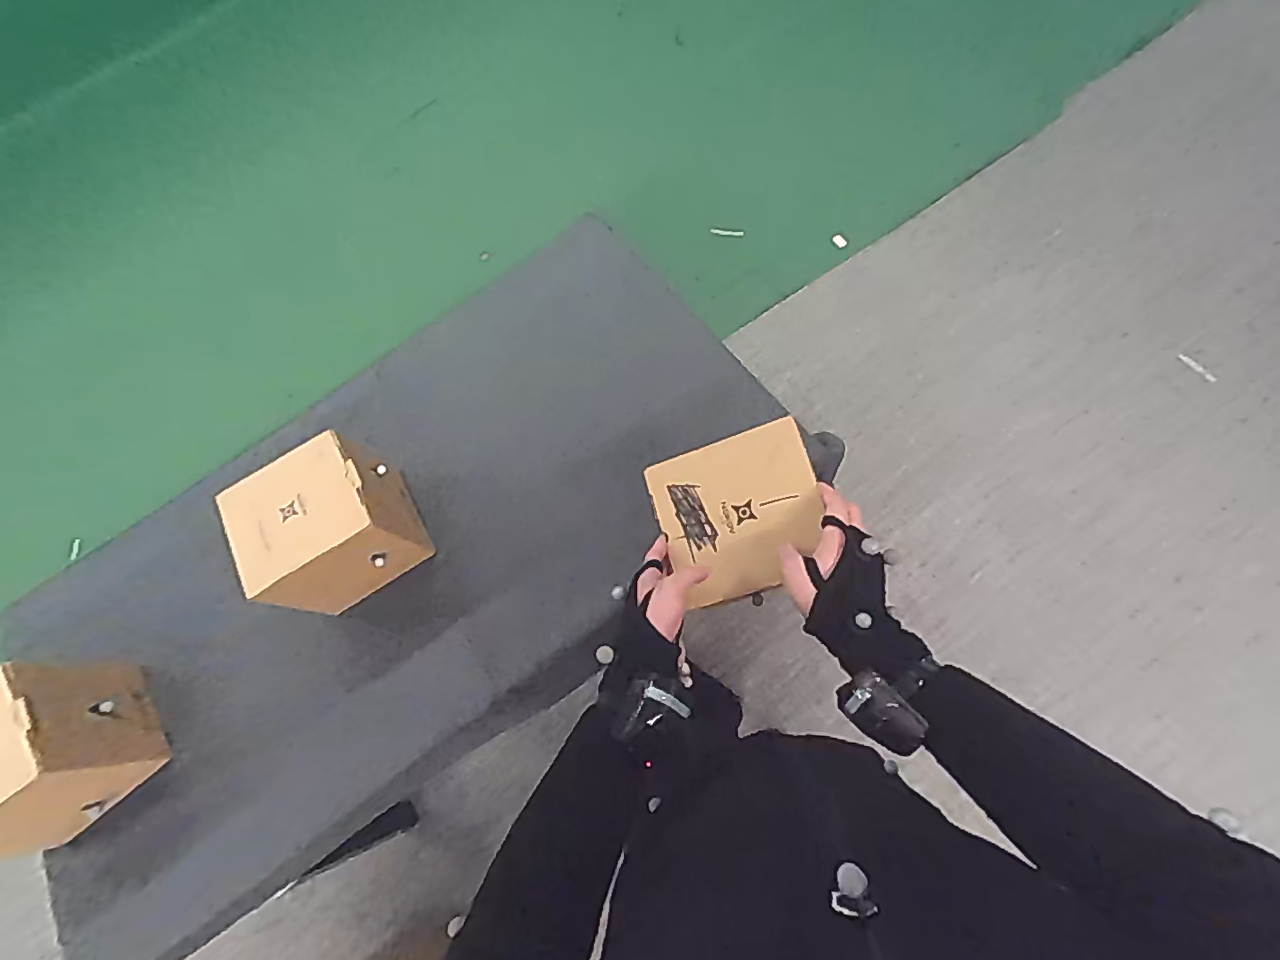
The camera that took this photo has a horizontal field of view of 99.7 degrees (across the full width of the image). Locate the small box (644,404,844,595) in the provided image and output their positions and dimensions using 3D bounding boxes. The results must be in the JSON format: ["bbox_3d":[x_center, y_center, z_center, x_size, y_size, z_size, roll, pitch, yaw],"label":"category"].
[{"bbox_3d":[0.128,0.037,0.637,0.179,0.176,0.168,-19,73,16],"label":"small box"}]

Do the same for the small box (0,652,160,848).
[{"bbox_3d":[-0.785,0.348,0.705,0.179,0.176,0.168,-40,70,-8],"label":"small box"}]

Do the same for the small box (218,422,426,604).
[{"bbox_3d":[-0.432,0.055,0.764,0.179,0.176,0.168,-33,68,-3],"label":"small box"}]
